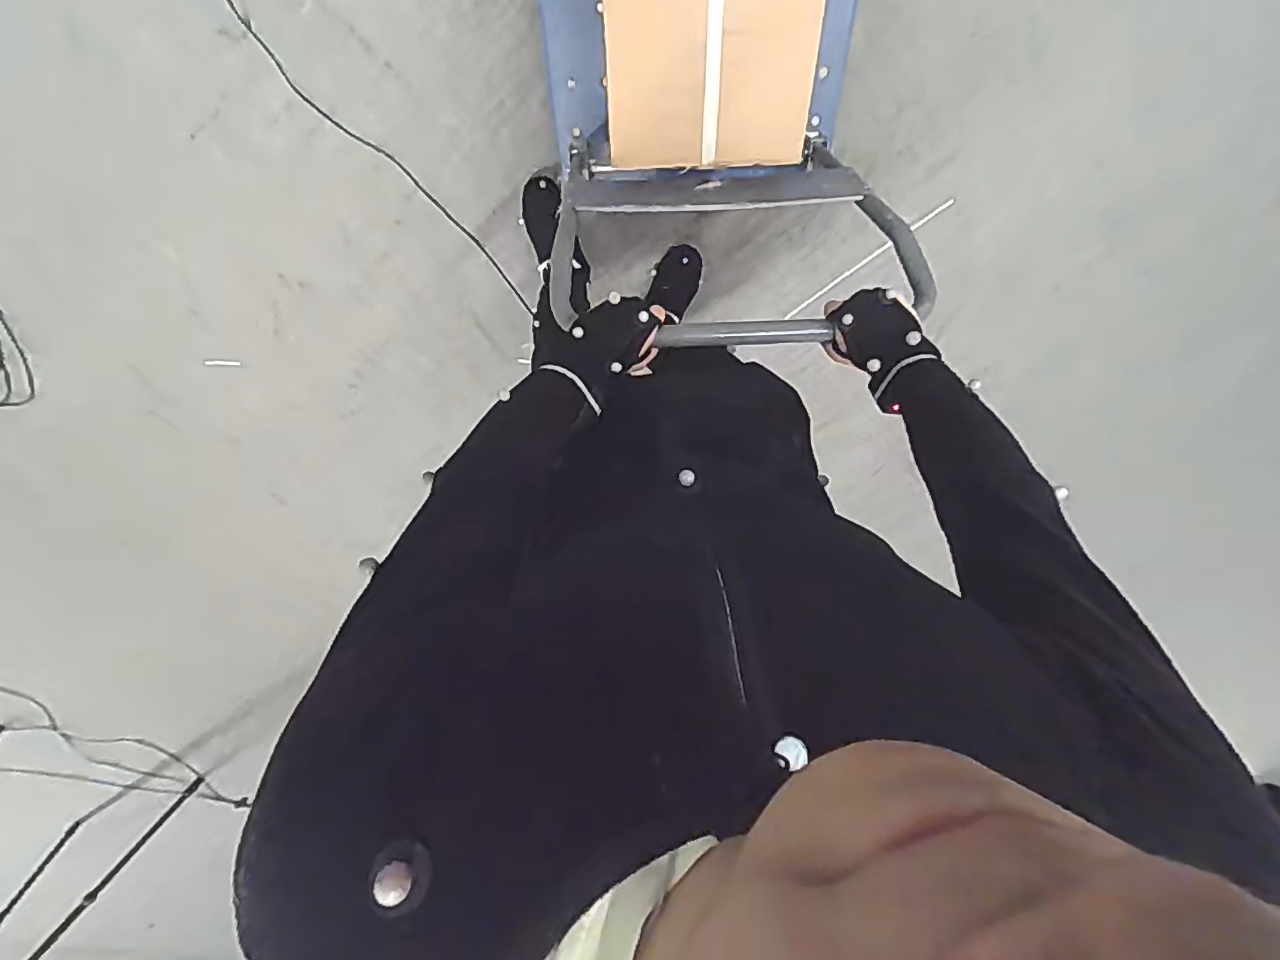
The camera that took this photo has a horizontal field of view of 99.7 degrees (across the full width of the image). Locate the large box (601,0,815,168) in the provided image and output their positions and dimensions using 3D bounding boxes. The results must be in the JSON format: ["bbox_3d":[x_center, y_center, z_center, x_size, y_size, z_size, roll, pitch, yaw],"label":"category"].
[{"bbox_3d":[0.101,-0.774,0.891,0.320,0.320,0.408,-2,130,1],"label":"large box"}]
